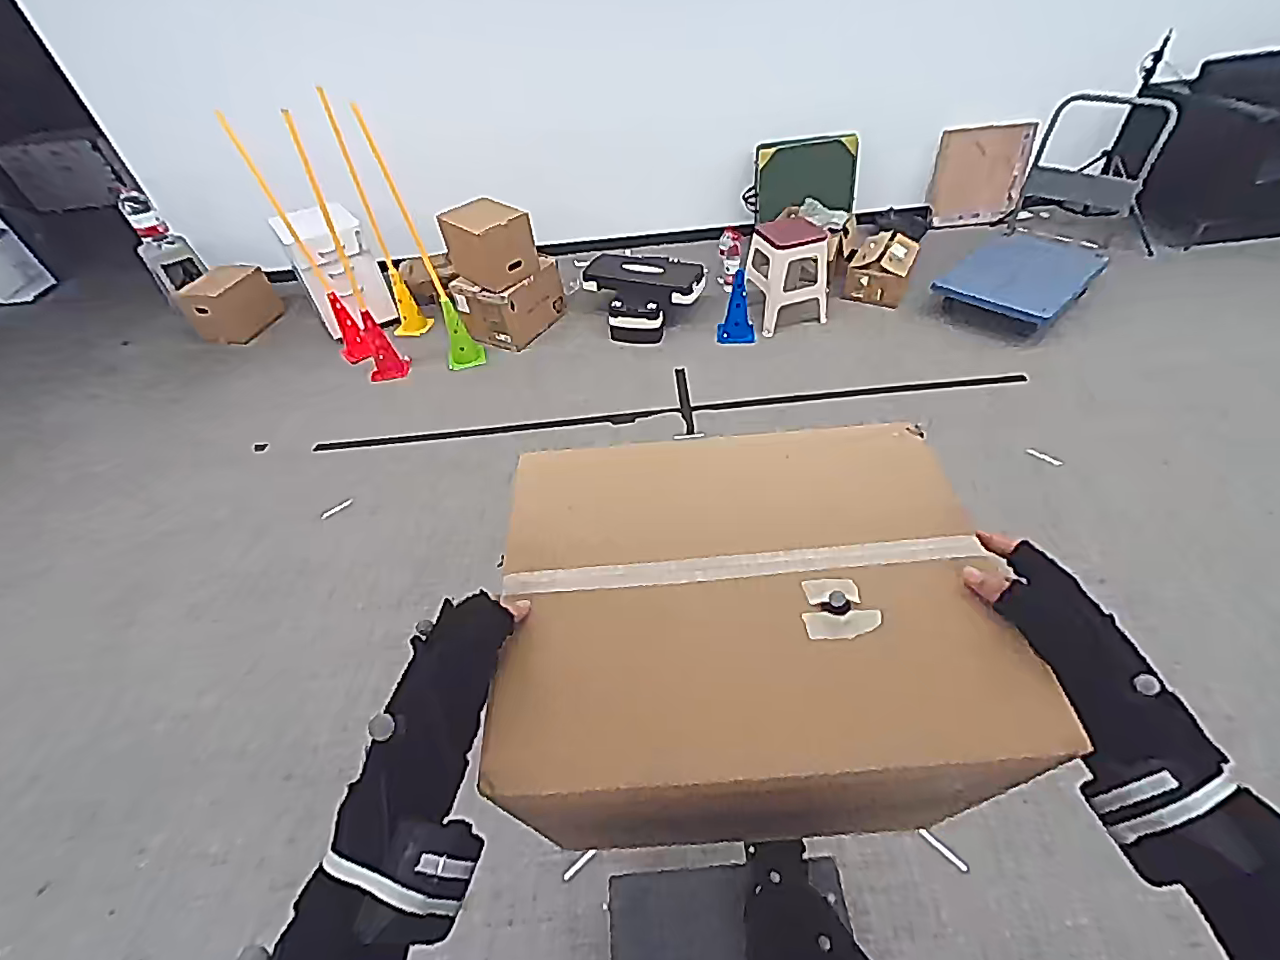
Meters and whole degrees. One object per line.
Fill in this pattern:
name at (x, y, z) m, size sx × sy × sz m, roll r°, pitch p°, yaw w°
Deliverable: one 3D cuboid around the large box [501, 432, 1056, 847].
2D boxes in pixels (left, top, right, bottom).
large box at (0.095, 0.178, 0.587) m, size 0.408 × 0.320 × 0.320 m, roll -5°, pitch 50°, yaw 1°
